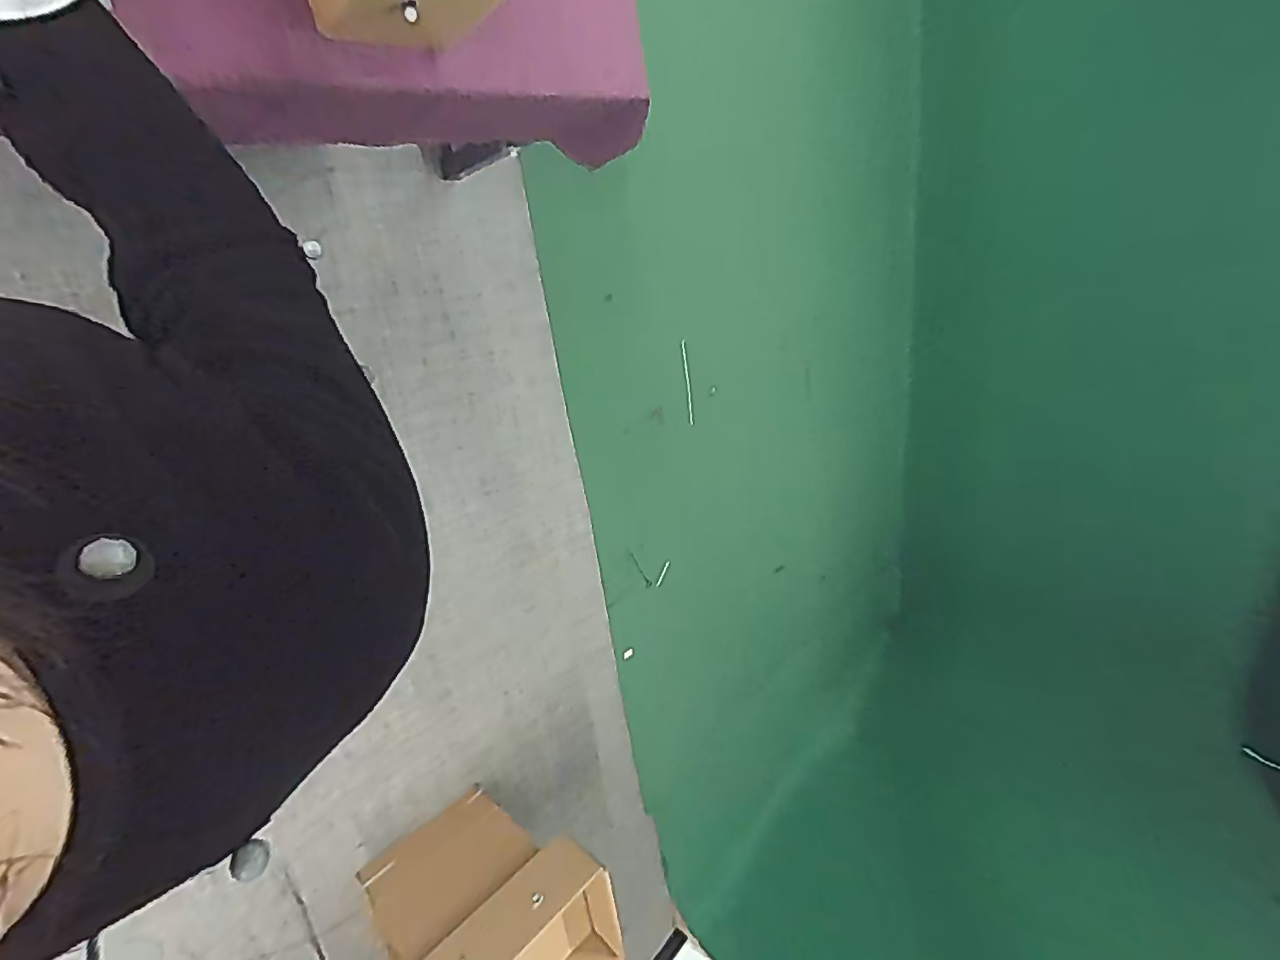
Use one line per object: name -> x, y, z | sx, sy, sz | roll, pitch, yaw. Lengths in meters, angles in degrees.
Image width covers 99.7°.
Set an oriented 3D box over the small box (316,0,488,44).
small box -> -0.284, -0.633, 0.619 | 0.179, 0.176, 0.168 | -31, 119, -36
